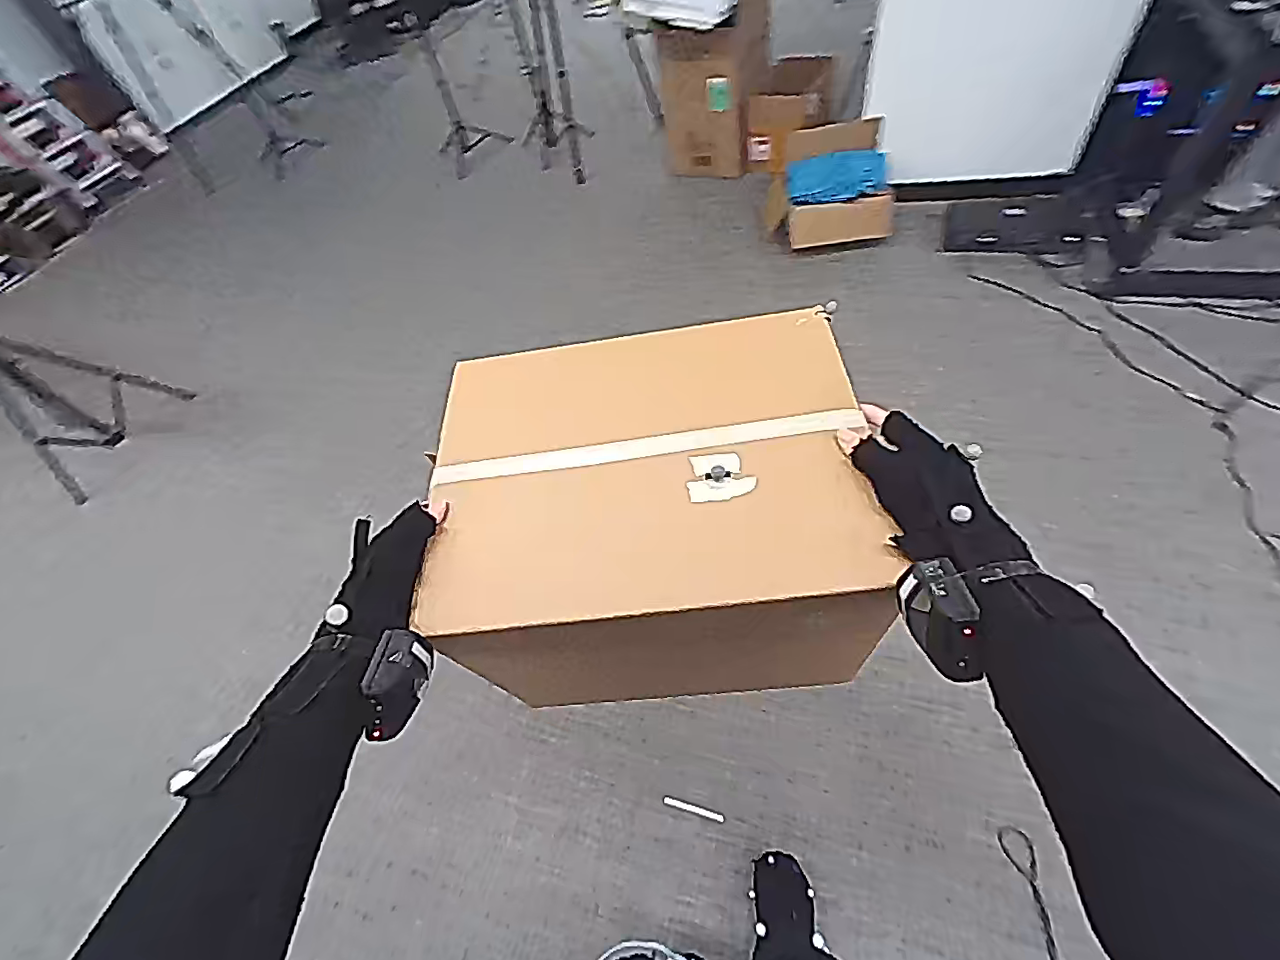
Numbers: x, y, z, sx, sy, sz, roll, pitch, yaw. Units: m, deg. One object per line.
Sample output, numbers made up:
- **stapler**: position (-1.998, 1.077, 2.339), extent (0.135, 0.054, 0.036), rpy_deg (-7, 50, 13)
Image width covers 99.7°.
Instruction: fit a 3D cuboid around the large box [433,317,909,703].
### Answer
- **large box**: position (0.027, 0.055, 0.645), extent (0.408, 0.320, 0.320), rpy_deg (-8, 57, 4)
